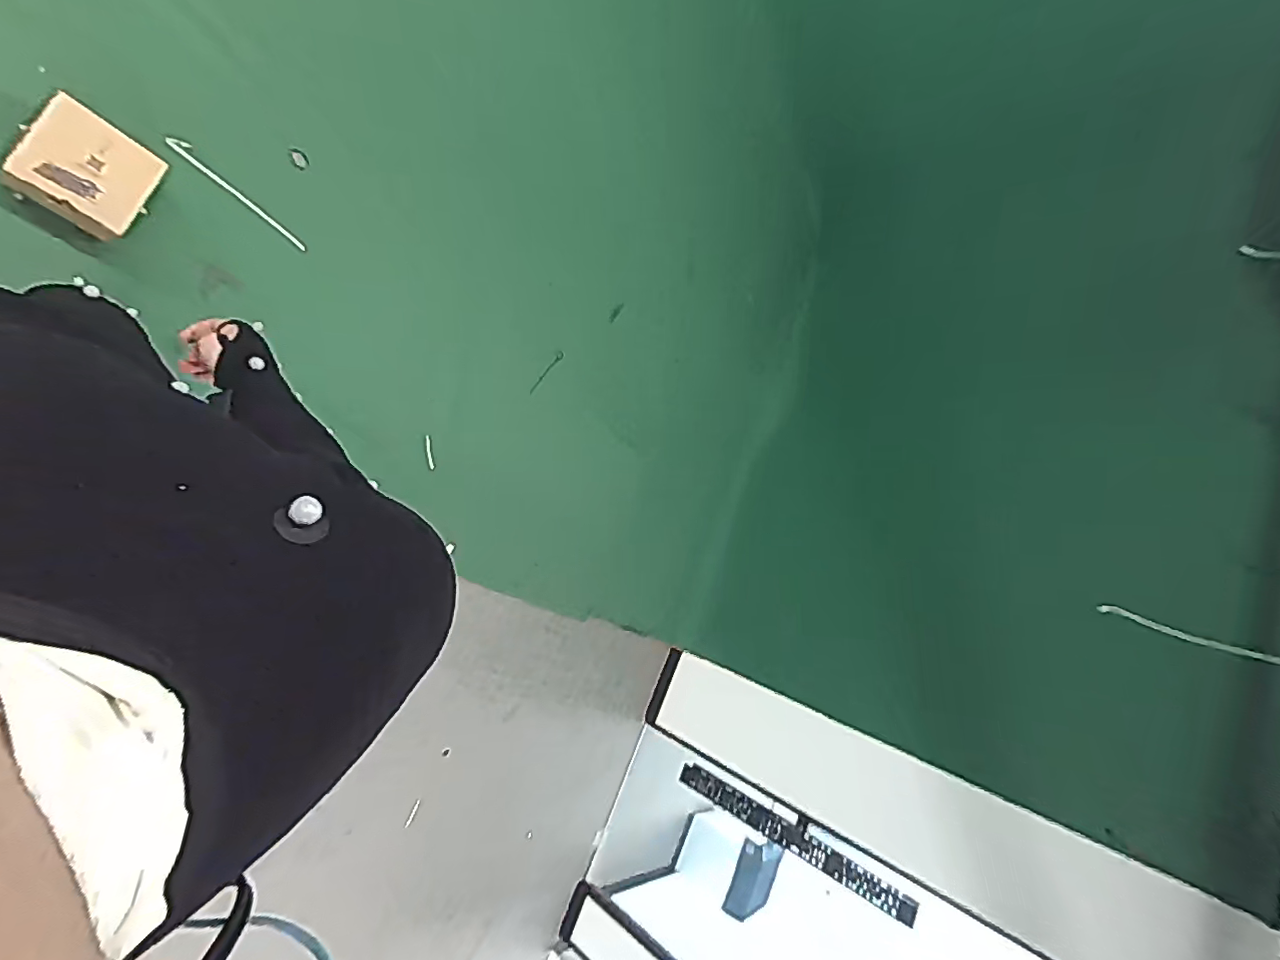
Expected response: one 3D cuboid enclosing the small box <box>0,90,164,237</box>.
[{"bbox_3d":[-1.078,-0.596,1.044,0.168,0.176,0.179,37,72,-51],"label":"small box"}]
